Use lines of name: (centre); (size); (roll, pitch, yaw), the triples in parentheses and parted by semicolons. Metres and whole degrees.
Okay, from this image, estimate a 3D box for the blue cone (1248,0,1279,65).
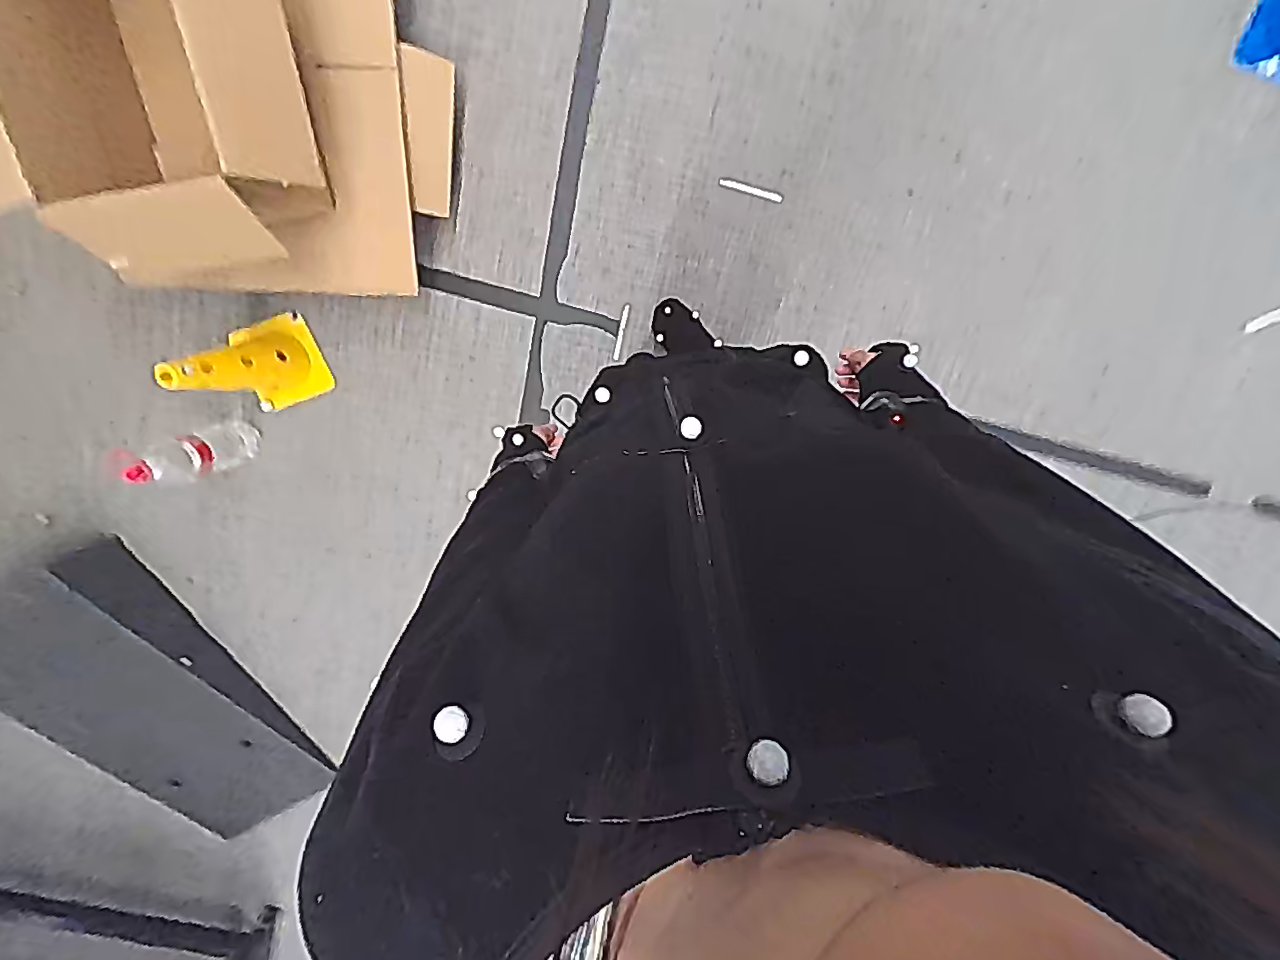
blue cone: (1.436, -0.957, 1.010); (0.192, 0.380, 0.193); (16, 106, -6)
